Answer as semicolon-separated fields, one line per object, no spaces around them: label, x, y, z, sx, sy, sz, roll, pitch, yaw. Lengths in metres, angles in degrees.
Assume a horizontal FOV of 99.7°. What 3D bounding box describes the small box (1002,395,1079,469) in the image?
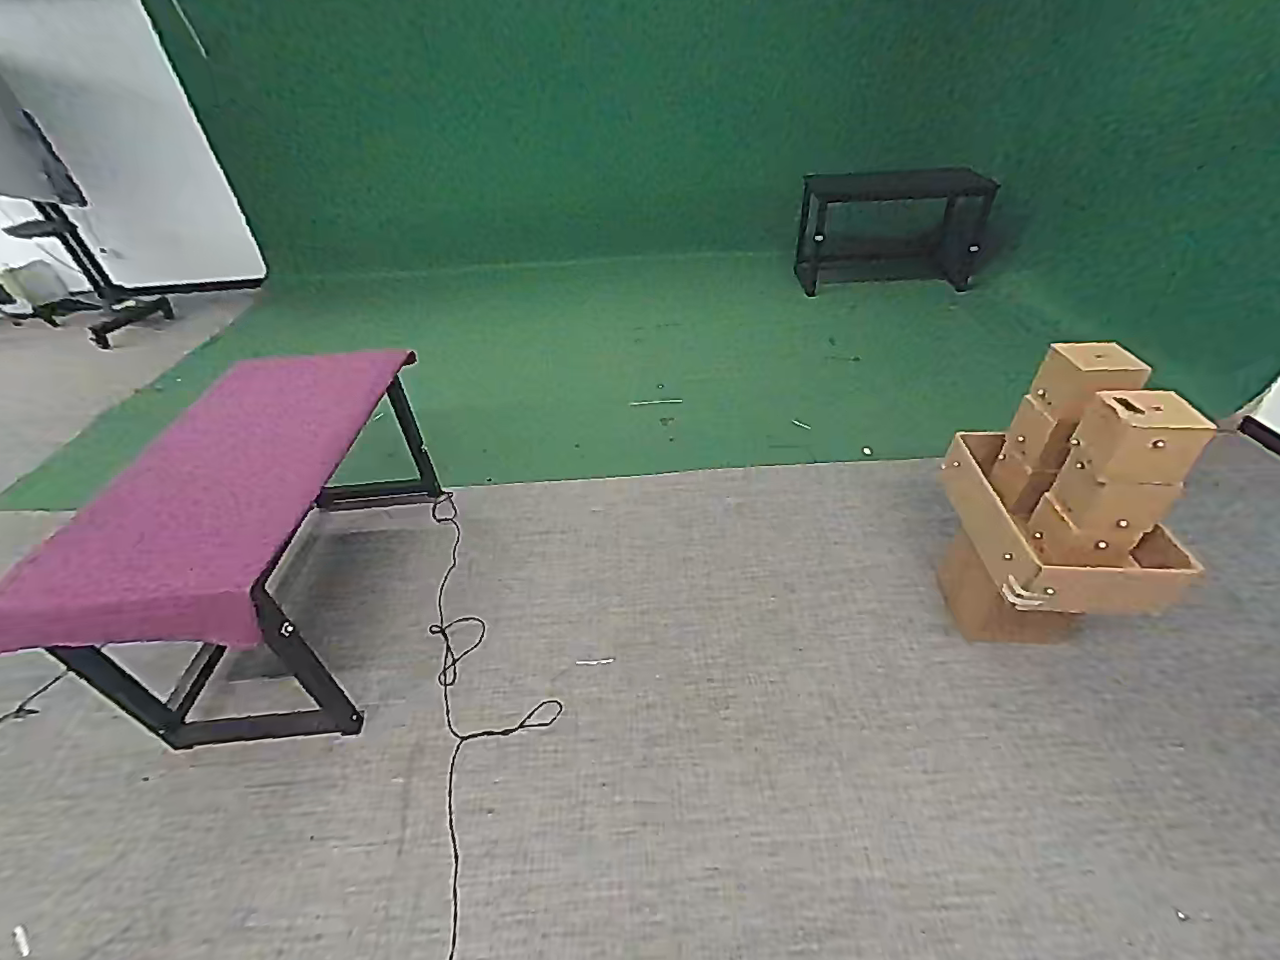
small box;1.253;-0.145;1.640;0.179;0.176;0.168;-1;40;2

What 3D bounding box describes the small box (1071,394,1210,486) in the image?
small box;1.216;-0.098;1.339;0.179;0.176;0.168;3;41;8

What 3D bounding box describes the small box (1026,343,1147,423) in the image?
small box;1.257;-0.273;1.538;0.179;0.176;0.168;1;40;3

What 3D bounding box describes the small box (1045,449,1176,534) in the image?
small box;1.242;0.028;1.444;0.179;0.176;0.168;2;40;6
